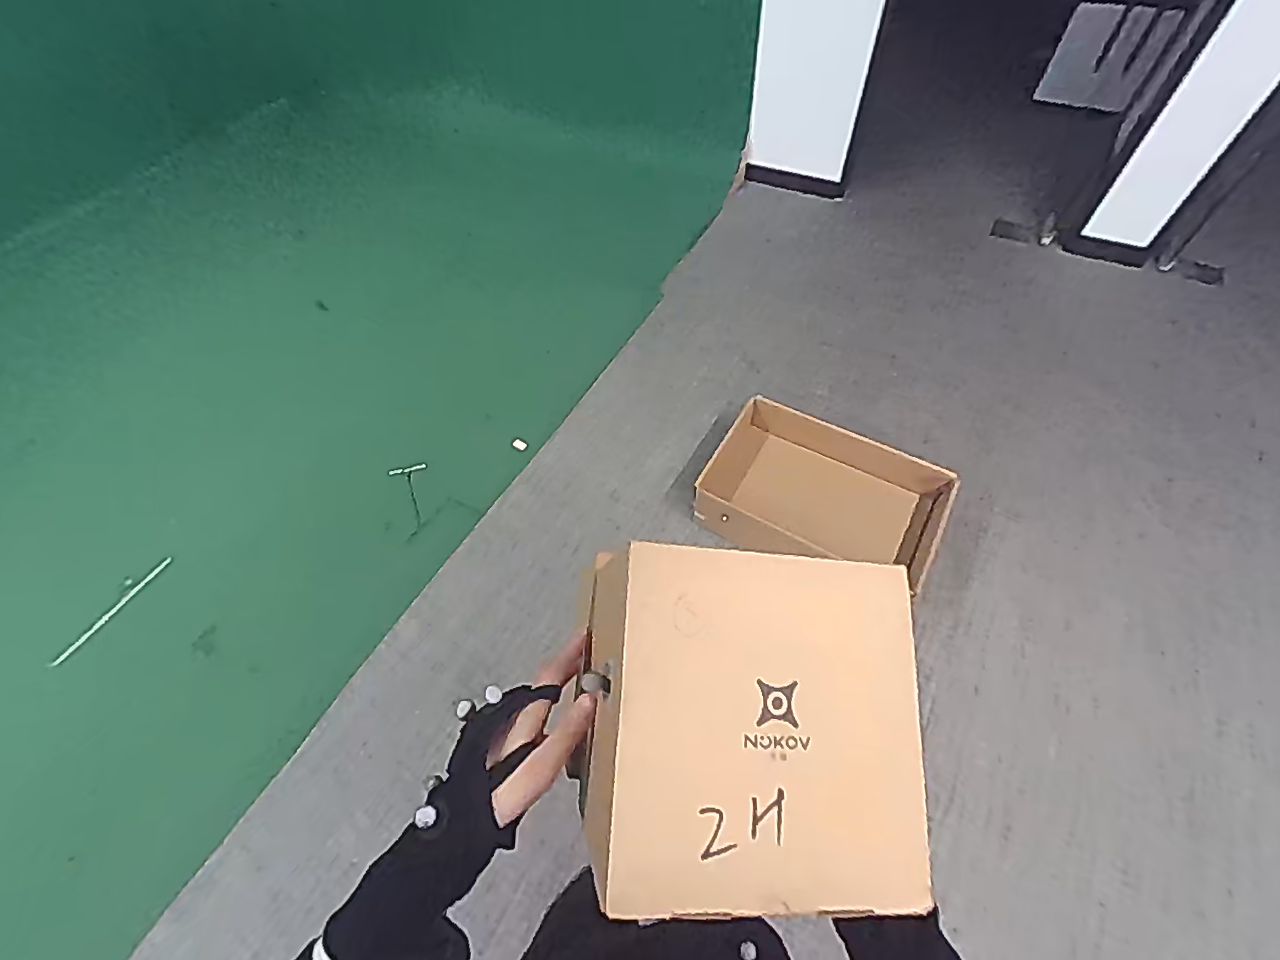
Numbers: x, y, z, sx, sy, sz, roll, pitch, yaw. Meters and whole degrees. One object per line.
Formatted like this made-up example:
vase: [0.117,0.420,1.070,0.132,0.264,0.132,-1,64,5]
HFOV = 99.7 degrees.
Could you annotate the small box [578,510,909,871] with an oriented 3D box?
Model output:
small box: [0.050,0.130,0.365,0.168,0.176,0.179,6,74,-8]
